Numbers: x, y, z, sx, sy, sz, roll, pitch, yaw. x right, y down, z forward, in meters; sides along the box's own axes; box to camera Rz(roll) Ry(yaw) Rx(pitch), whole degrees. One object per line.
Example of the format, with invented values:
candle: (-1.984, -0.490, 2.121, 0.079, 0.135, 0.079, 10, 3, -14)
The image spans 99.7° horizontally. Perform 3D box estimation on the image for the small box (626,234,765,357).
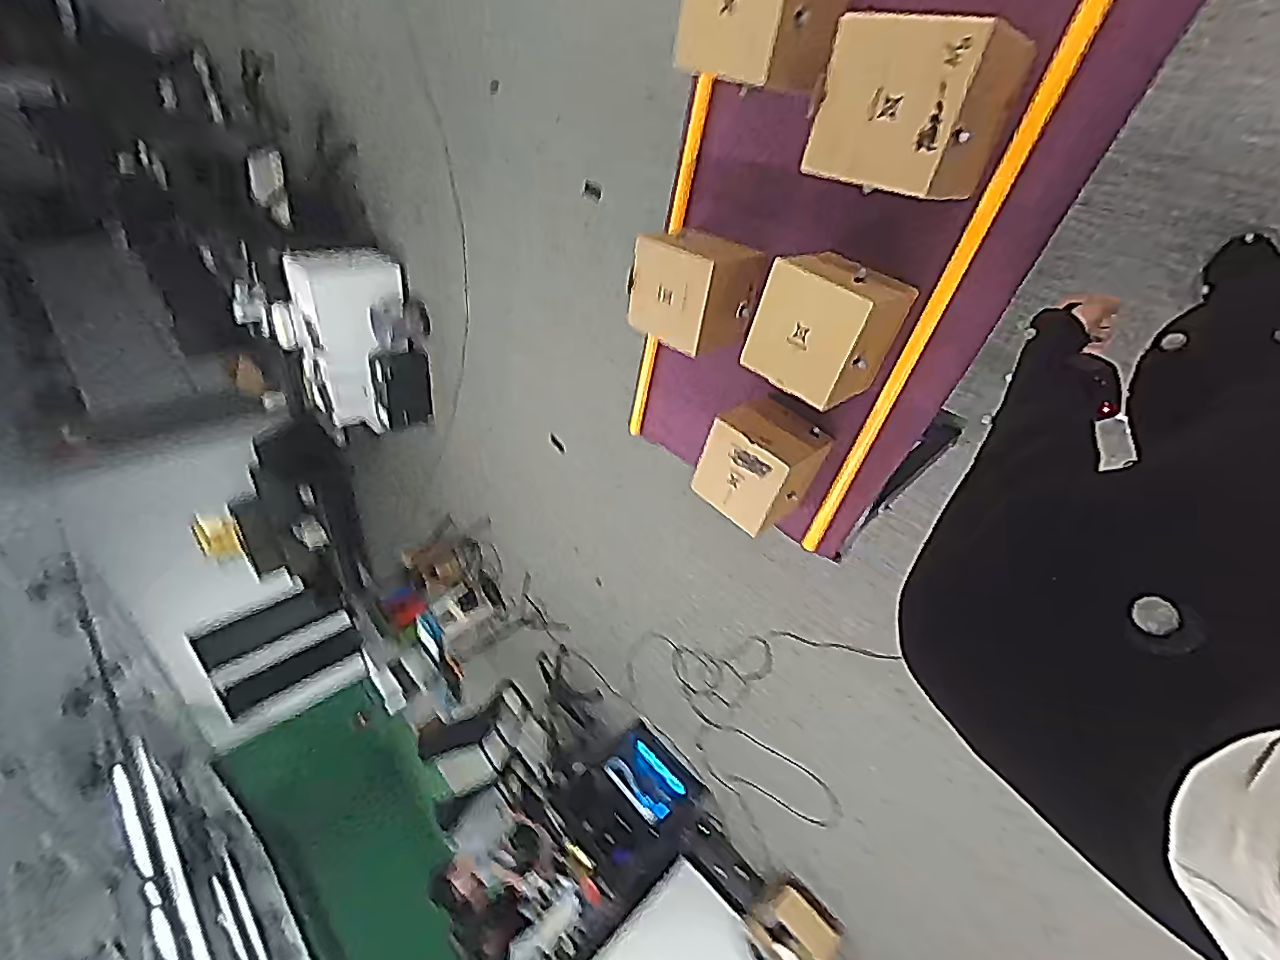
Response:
small box: (0.100, -0.351, 1.006, 0.179, 0.176, 0.168, 34, 133, 30)

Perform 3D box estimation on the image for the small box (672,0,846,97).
small box: (0.172, -0.659, 0.758, 0.168, 0.176, 0.179, 35, 133, 28)

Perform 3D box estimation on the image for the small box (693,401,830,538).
small box: (0.233, -0.028, 1.029, 0.168, 0.176, 0.179, 40, 135, 27)

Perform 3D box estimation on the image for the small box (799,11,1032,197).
small box: (0.340, -0.463, 0.679, 0.179, 0.176, 0.168, 37, 134, 33)

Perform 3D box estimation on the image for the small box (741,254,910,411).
small box: (0.294, -0.241, 0.853, 0.168, 0.176, 0.179, 39, 135, 28)
